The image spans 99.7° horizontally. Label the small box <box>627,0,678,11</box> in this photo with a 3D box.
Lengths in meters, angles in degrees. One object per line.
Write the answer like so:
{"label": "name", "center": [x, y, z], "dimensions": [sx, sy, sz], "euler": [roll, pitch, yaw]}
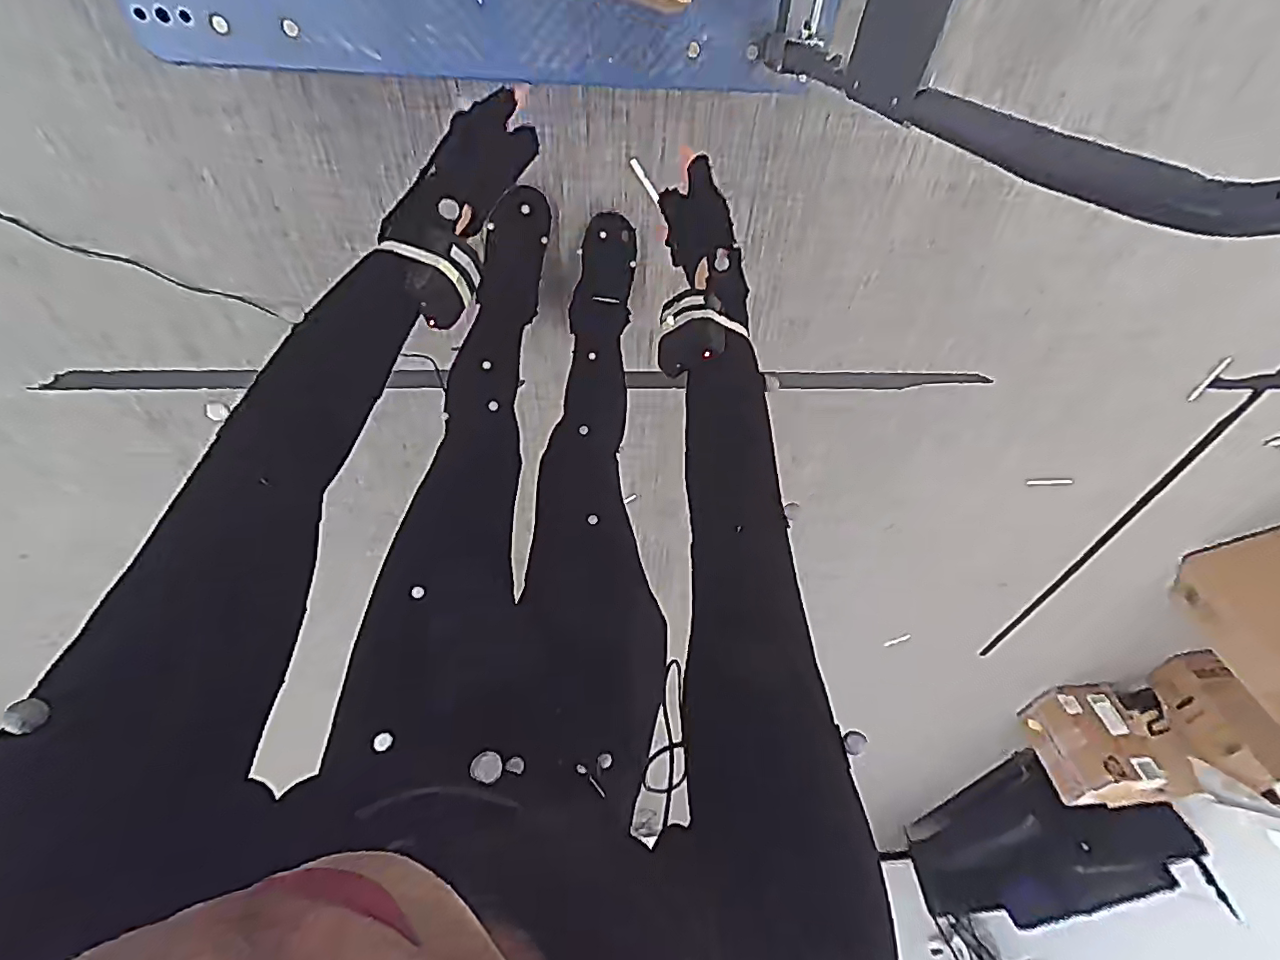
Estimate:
{"label": "small box", "center": [-0.022, -0.596, 0.532], "dimensions": [0.179, 0.176, 0.168], "euler": [12, 126, -12]}
